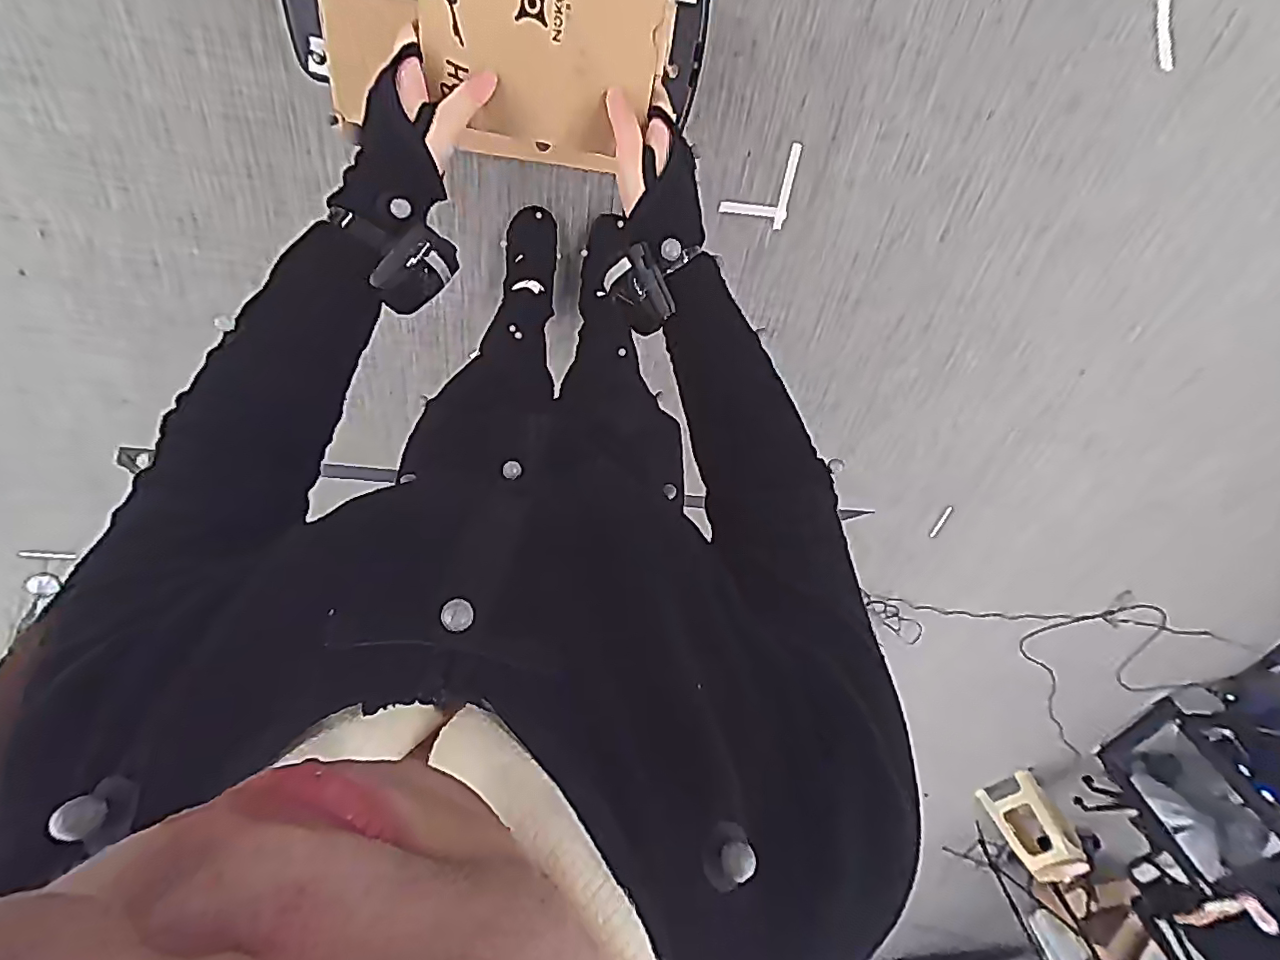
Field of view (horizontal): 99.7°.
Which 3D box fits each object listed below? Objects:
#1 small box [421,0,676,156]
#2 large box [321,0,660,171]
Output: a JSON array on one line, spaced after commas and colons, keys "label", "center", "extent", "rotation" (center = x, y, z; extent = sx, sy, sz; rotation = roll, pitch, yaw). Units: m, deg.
[{"label": "small box", "center": [-0.071, -0.383, 0.438], "extent": [0.179, 0.176, 0.168], "rotation": [5, 125, -11]}, {"label": "large box", "center": [-0.171, -0.646, 0.742], "extent": [0.408, 0.320, 0.320], "rotation": [4, 126, -8]}]
